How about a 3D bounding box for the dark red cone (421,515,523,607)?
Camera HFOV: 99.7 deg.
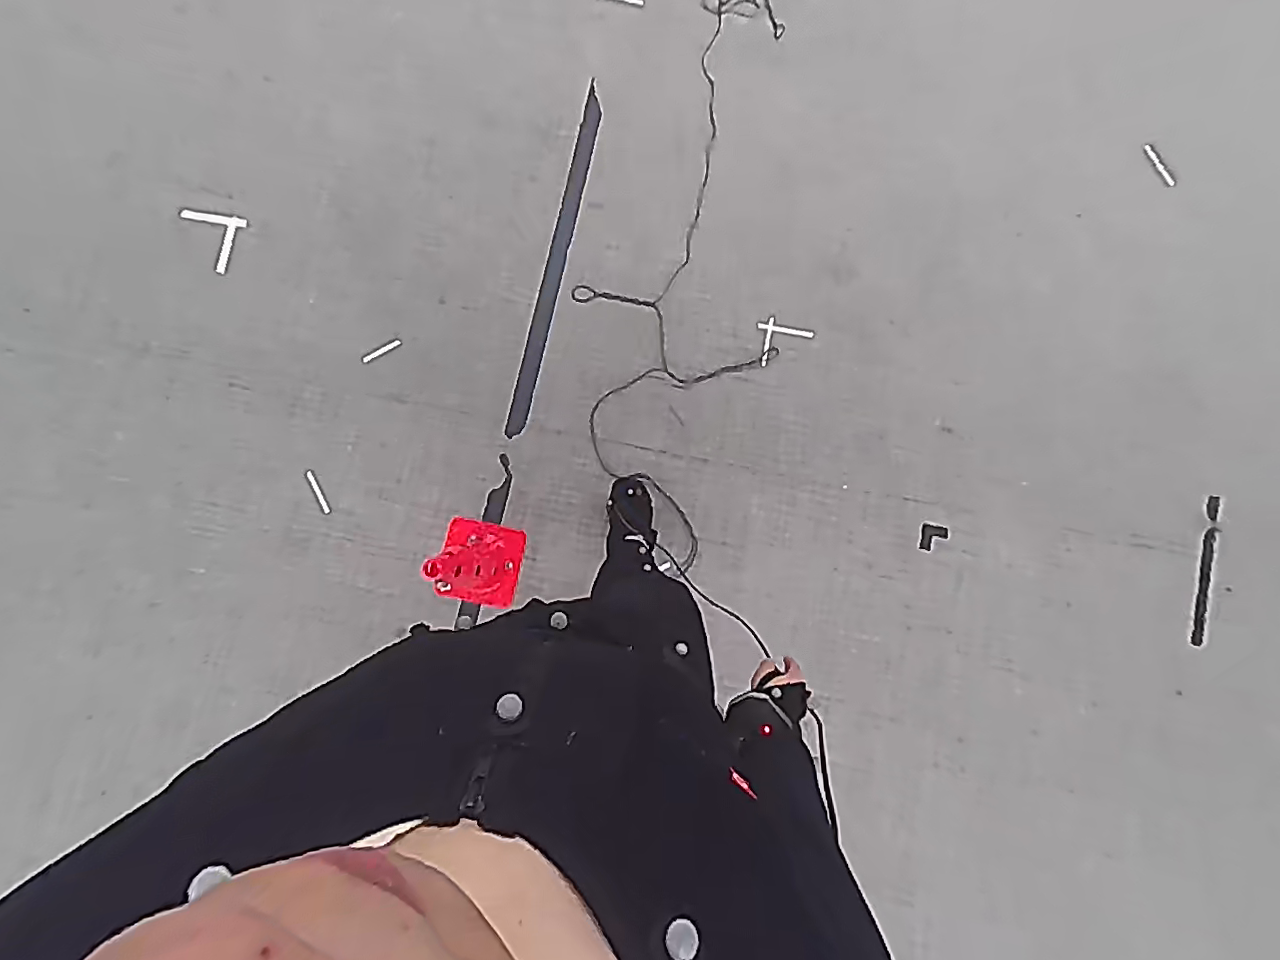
[{"bbox_3d":[-0.389,0.177,1.163,0.201,0.394,0.202,11,83,-2],"label":"dark red cone"}]
